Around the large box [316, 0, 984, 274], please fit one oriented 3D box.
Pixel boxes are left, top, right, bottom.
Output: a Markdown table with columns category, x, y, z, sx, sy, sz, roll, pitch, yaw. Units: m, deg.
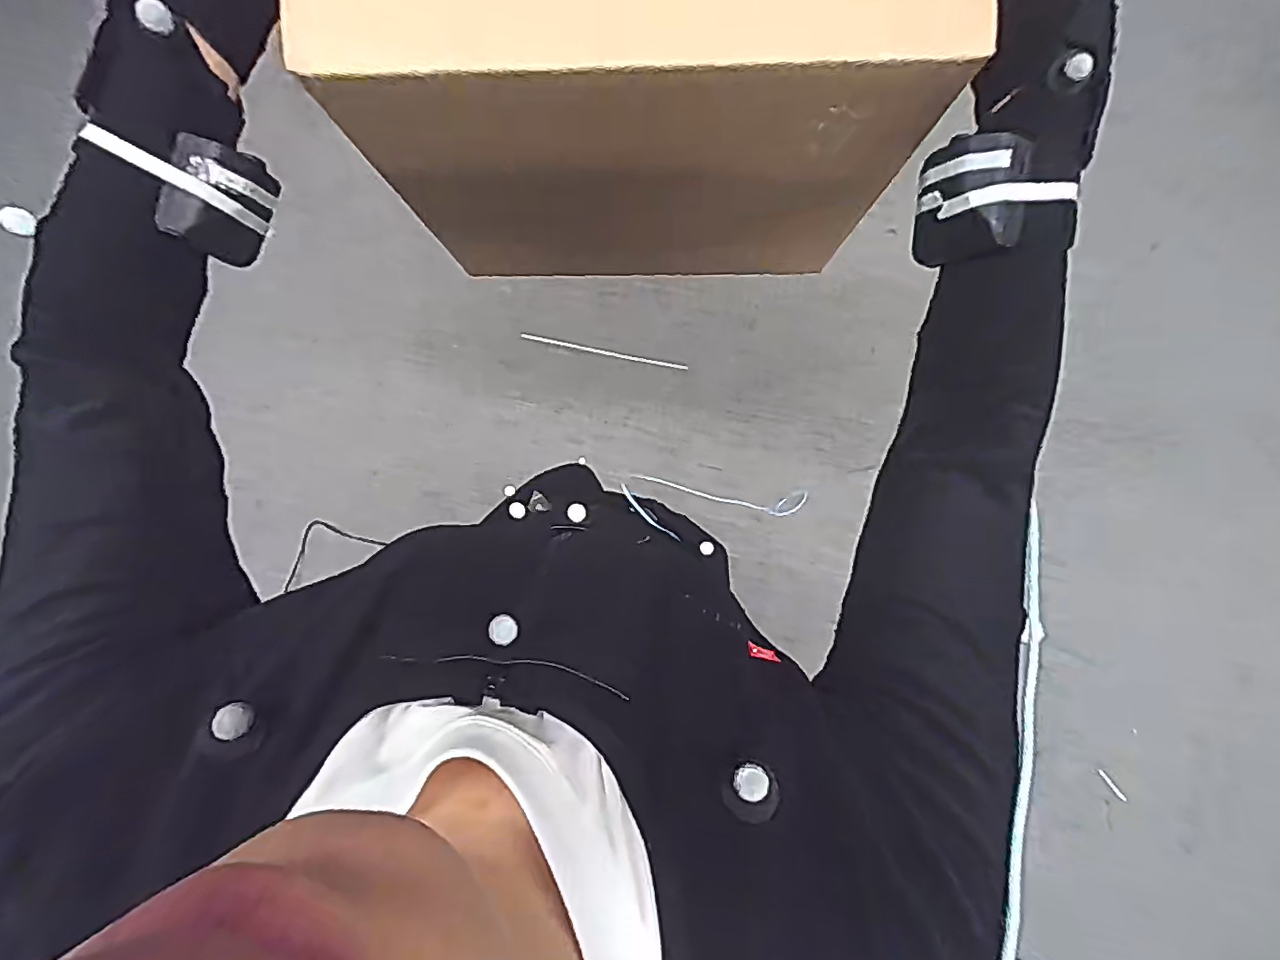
| category | x | y | z | sx | sy | sz | roll | pitch | yaw |
| --- | --- | --- | --- | --- | --- | --- | --- | --- | --- |
| large box | 0.002 | -0.395 | 0.473 | 0.408 | 0.320 | 0.320 | -1 | 90 | 1 |
